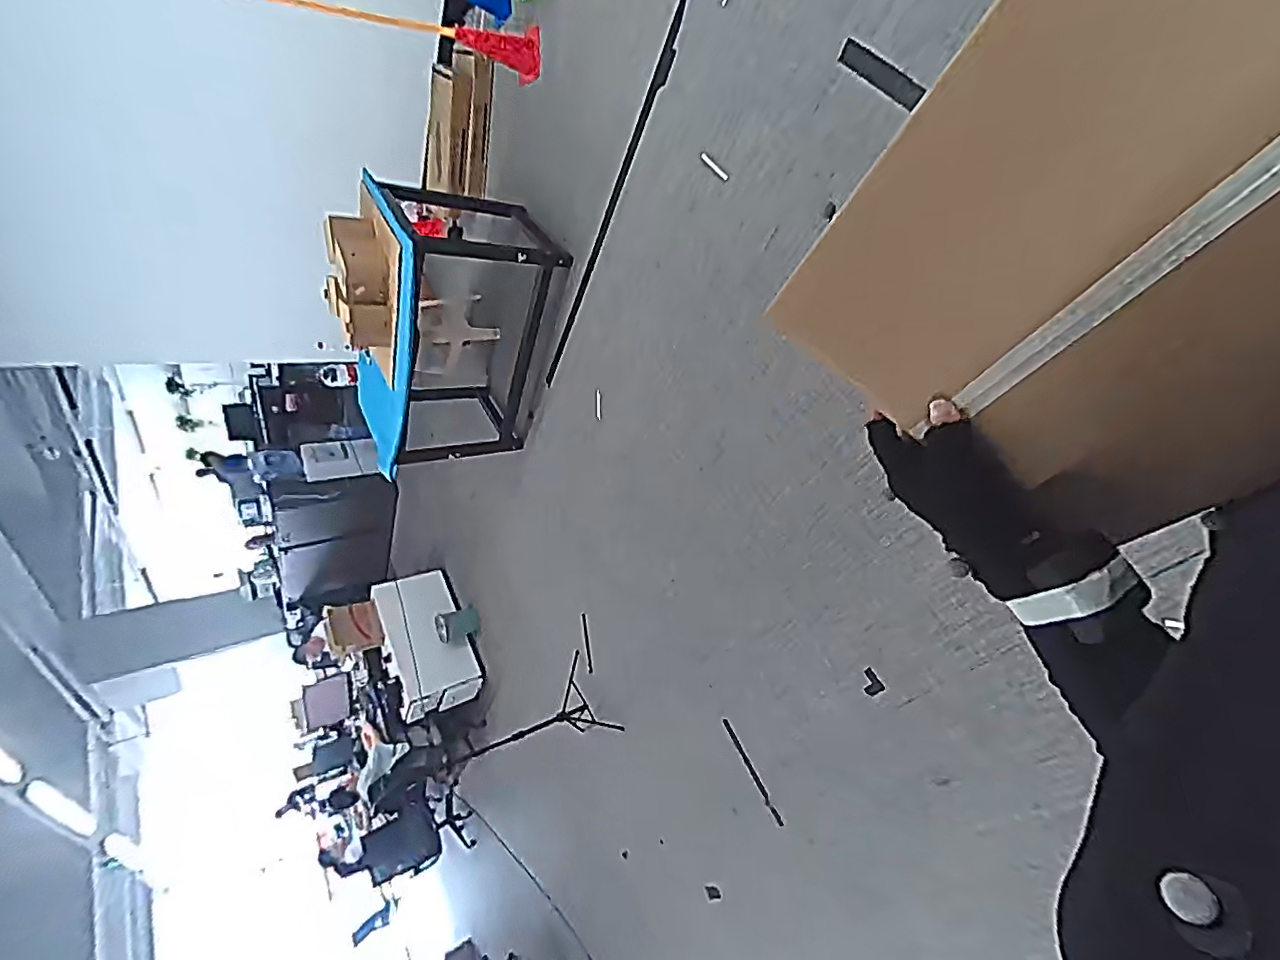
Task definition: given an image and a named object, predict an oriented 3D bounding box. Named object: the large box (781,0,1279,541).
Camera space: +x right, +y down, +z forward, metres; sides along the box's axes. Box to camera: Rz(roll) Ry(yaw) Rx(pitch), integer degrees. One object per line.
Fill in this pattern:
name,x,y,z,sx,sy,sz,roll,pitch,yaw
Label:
large box,0.378,-0.233,0.390,0.320,0.320,0.408,38,139,1
